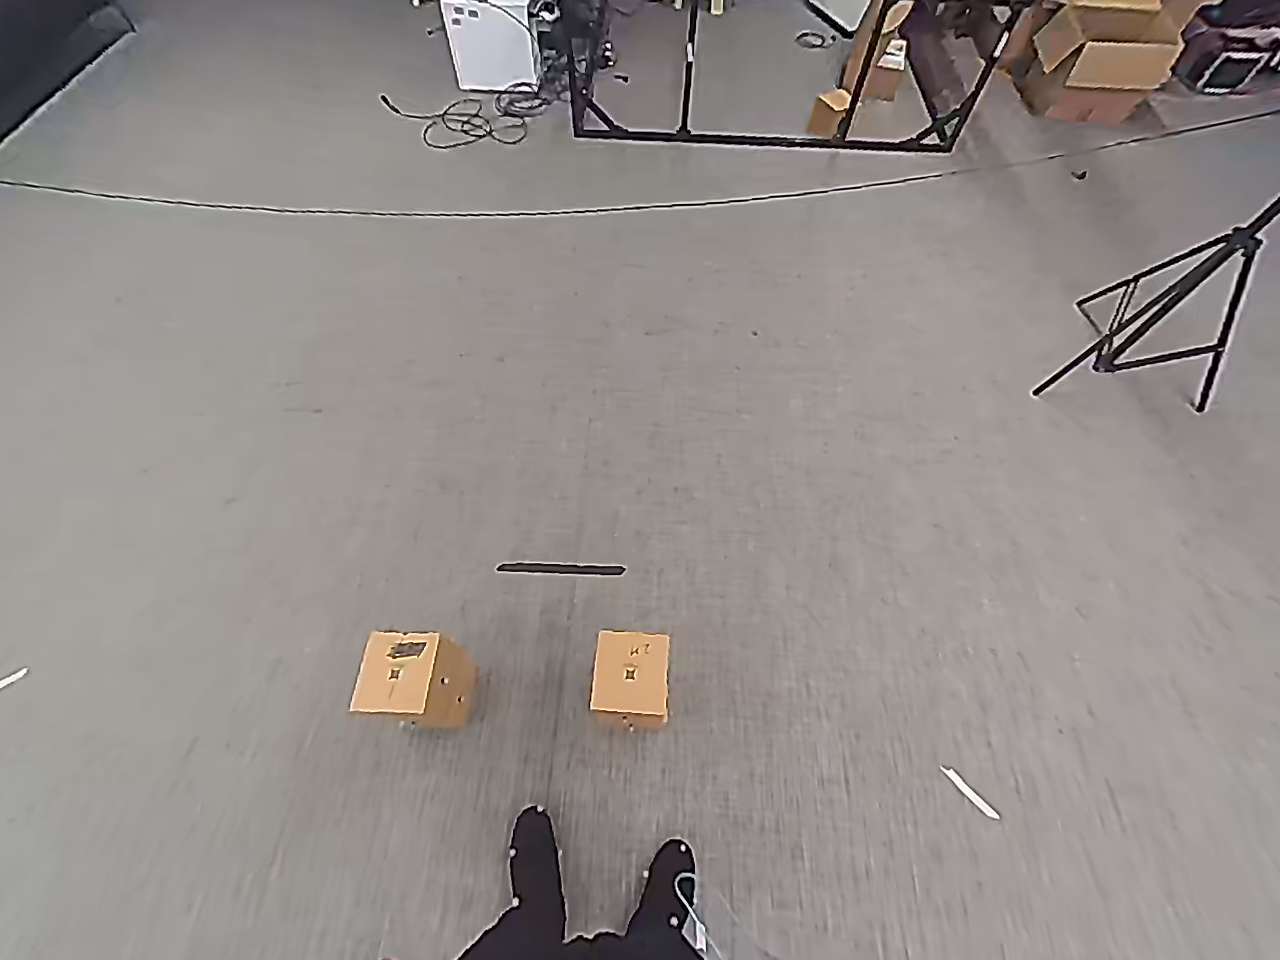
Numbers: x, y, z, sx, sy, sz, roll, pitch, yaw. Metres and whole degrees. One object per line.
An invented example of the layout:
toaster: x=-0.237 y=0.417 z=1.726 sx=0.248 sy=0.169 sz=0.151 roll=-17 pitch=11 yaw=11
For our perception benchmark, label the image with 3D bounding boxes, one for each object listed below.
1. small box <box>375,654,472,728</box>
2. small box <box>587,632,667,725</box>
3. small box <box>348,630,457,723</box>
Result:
small box: x=-0.554 y=0.550 z=1.413 sx=0.179 sy=0.176 sz=0.168 roll=2 pitch=60 yaw=1
small box: x=-0.028 y=0.473 z=1.278 sx=0.168 sy=0.176 sz=0.179 roll=5 pitch=60 yaw=1
small box: x=-0.546 y=0.465 z=1.273 sx=0.168 sy=0.176 sz=0.179 roll=2 pitch=61 yaw=1
